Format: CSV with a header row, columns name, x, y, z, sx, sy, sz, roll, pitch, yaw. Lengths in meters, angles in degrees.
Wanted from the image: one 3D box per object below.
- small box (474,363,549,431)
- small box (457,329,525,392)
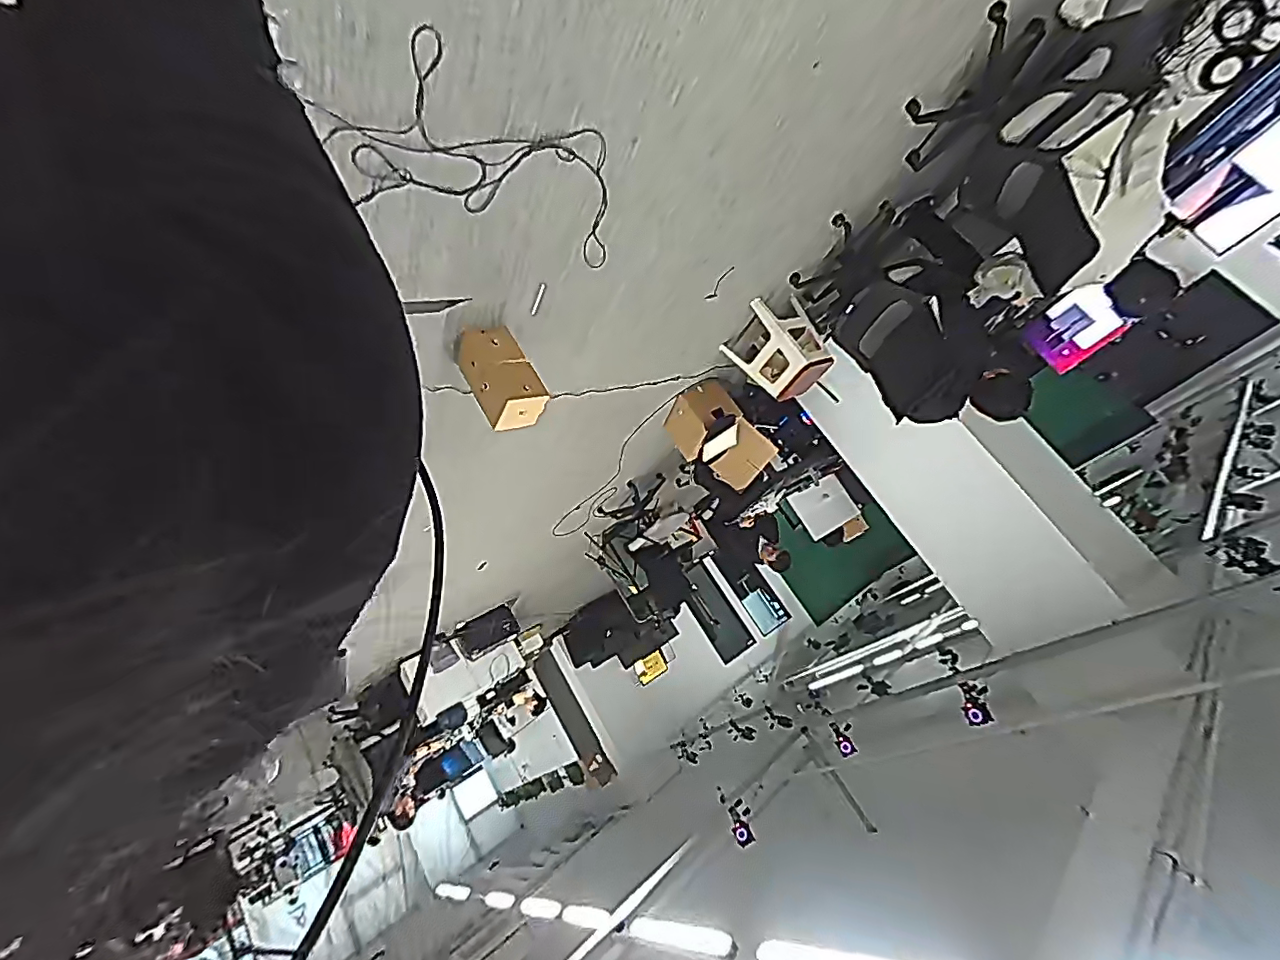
name,x,y,z,sx,sy,sz,roll,pitch,yaw
small box,-0.461,-0.302,1.930,0.179,0.176,0.168,-16,155,-42
small box,-0.549,-0.434,1.973,0.168,0.176,0.179,-20,157,-39
